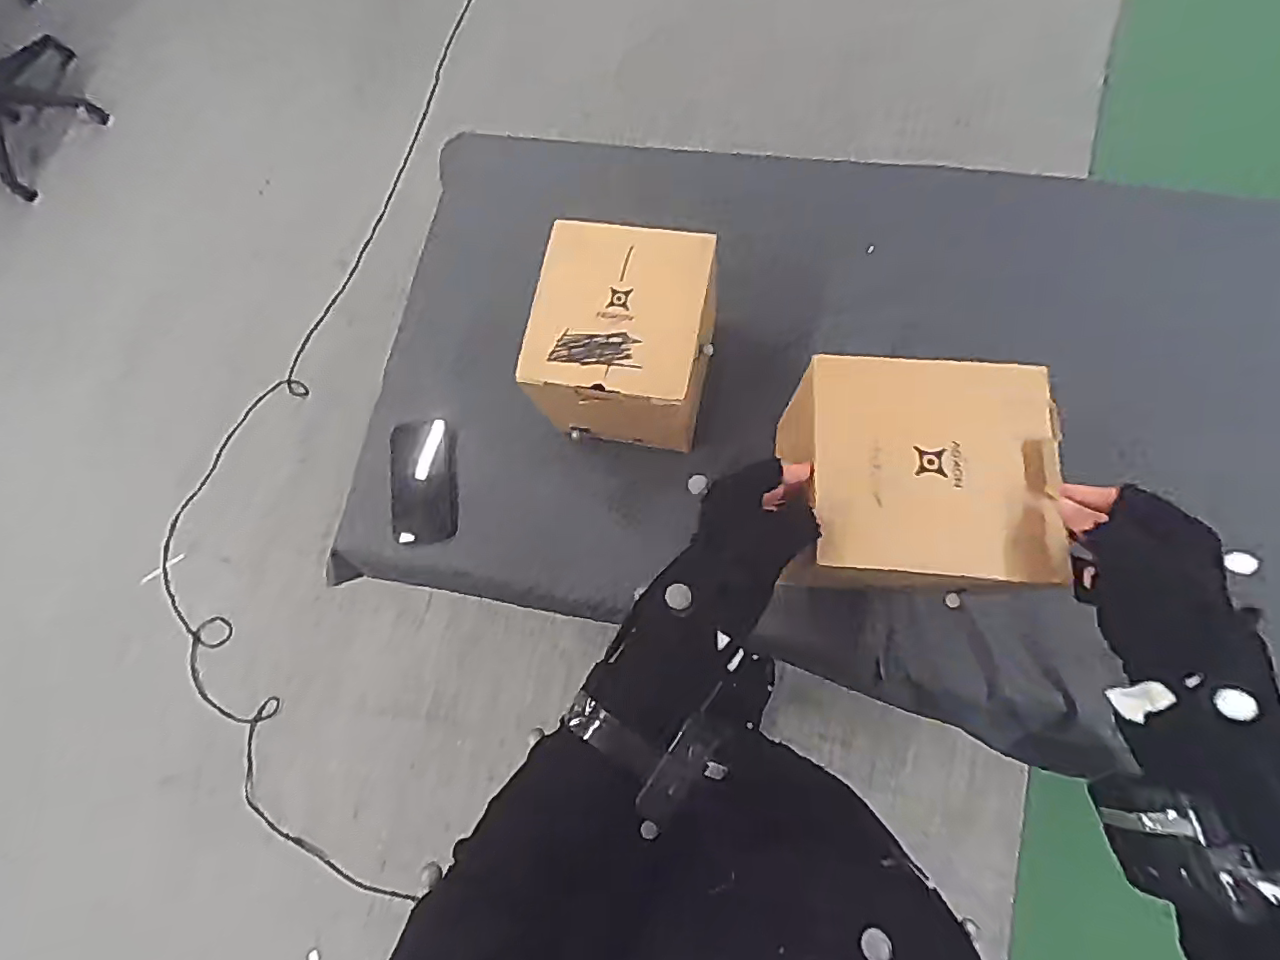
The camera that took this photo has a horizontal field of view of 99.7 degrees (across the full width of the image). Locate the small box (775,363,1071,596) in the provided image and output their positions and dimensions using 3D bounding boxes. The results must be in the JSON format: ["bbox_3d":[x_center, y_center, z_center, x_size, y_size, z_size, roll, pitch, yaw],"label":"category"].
[{"bbox_3d":[0.224,0.011,0.479,0.179,0.176,0.168,2,74,5],"label":"small box"}]

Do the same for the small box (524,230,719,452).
[{"bbox_3d":[-0.008,-0.142,0.600,0.168,0.176,0.179,10,78,9],"label":"small box"}]
